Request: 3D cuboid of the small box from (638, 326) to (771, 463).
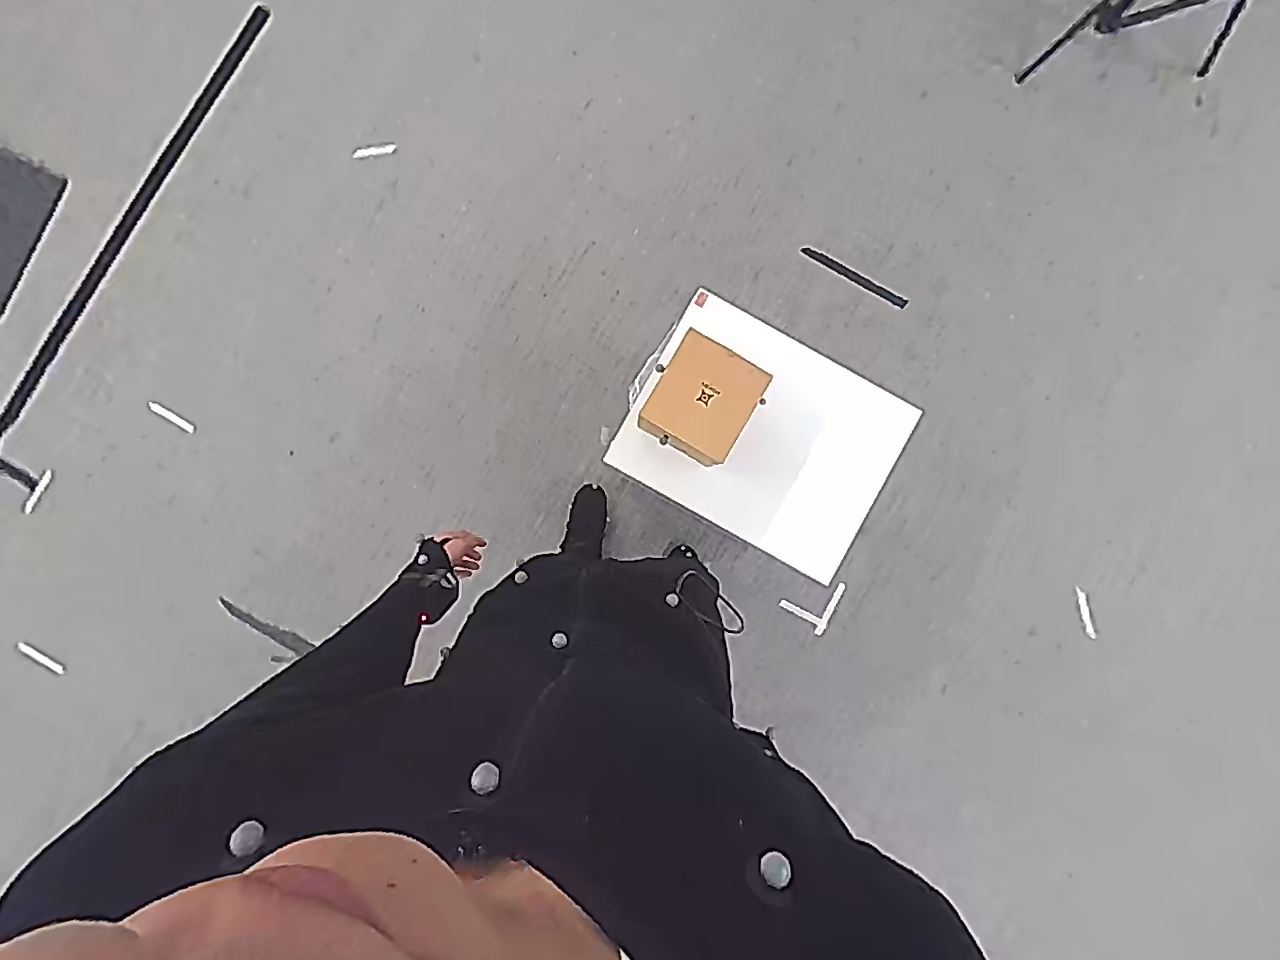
[{"bbox_3d":[0.109,-0.142,0.983,0.168,0.176,0.179,30,88,-1],"label":"small box"}]
